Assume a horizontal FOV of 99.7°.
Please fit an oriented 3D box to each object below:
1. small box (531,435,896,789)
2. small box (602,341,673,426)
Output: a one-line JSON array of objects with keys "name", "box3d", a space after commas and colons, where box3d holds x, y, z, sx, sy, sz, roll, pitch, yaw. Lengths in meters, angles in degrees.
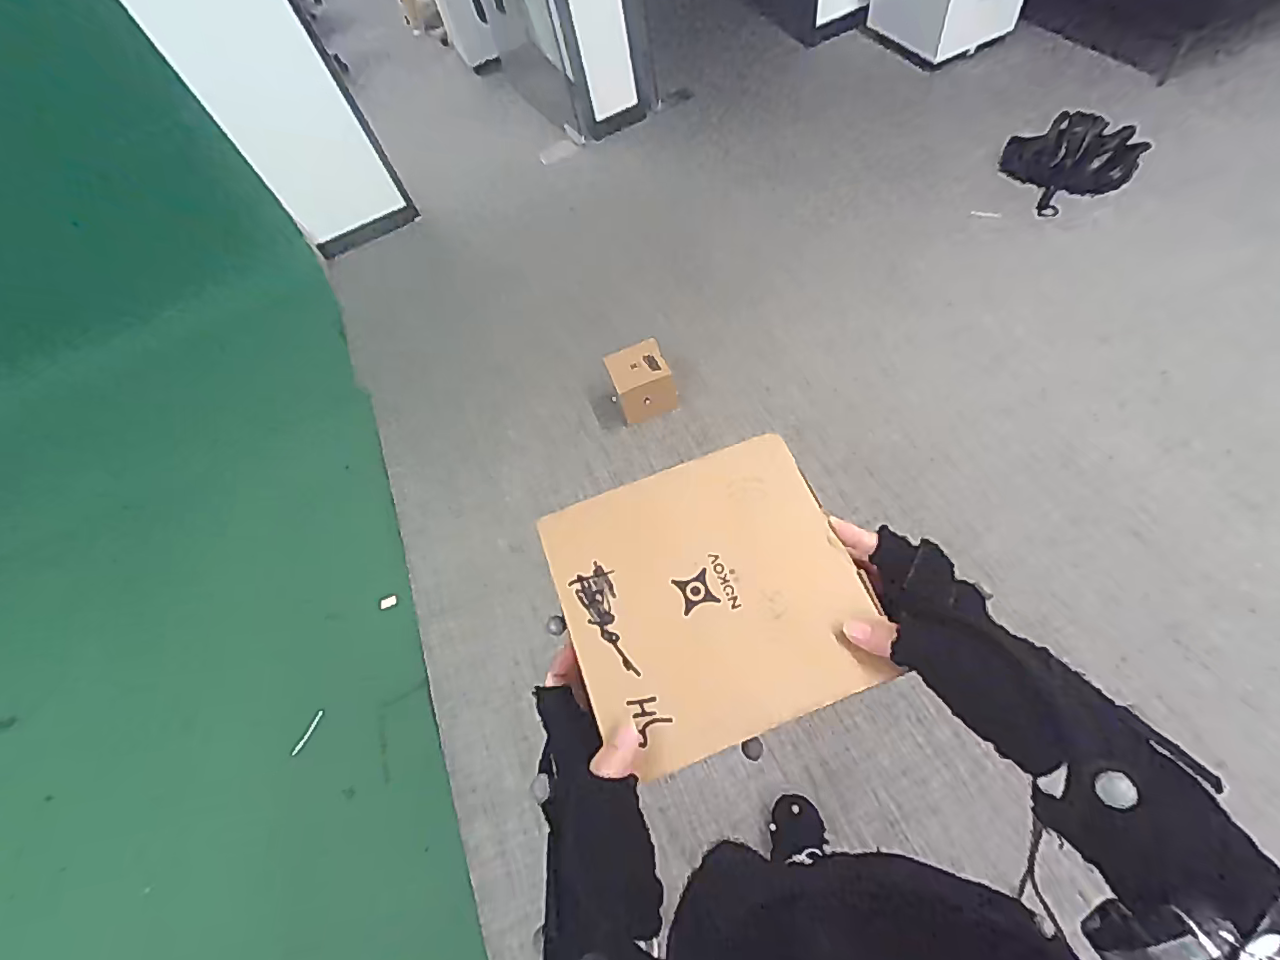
[{"name": "small box", "box3d": [0.042, 0.100, 0.401, 0.179, 0.176, 0.168, -23, 65, -6]}, {"name": "small box", "box3d": [0.000, -0.303, 1.726, 0.179, 0.176, 0.168, -22, 58, 0]}]
